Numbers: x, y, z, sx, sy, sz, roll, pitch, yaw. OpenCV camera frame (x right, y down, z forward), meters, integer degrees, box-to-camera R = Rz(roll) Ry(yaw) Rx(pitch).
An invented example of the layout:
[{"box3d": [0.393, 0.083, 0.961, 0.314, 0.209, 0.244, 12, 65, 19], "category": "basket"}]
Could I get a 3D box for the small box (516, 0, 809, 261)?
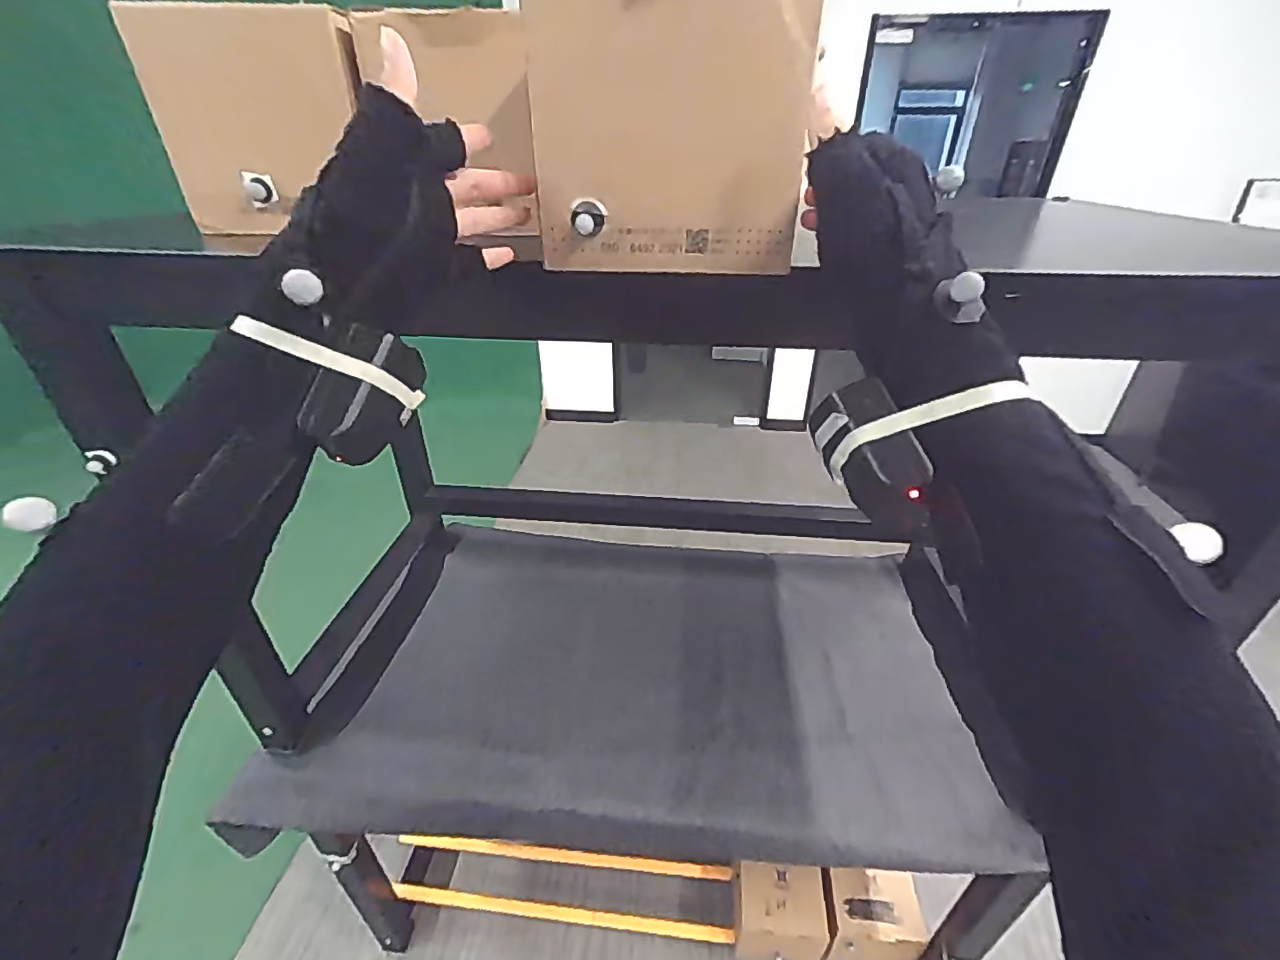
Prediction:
[{"box3d": [0.023, -0.259, 0.392, 0.168, 0.176, 0.179, 4, 30, 6], "category": "small box"}]
